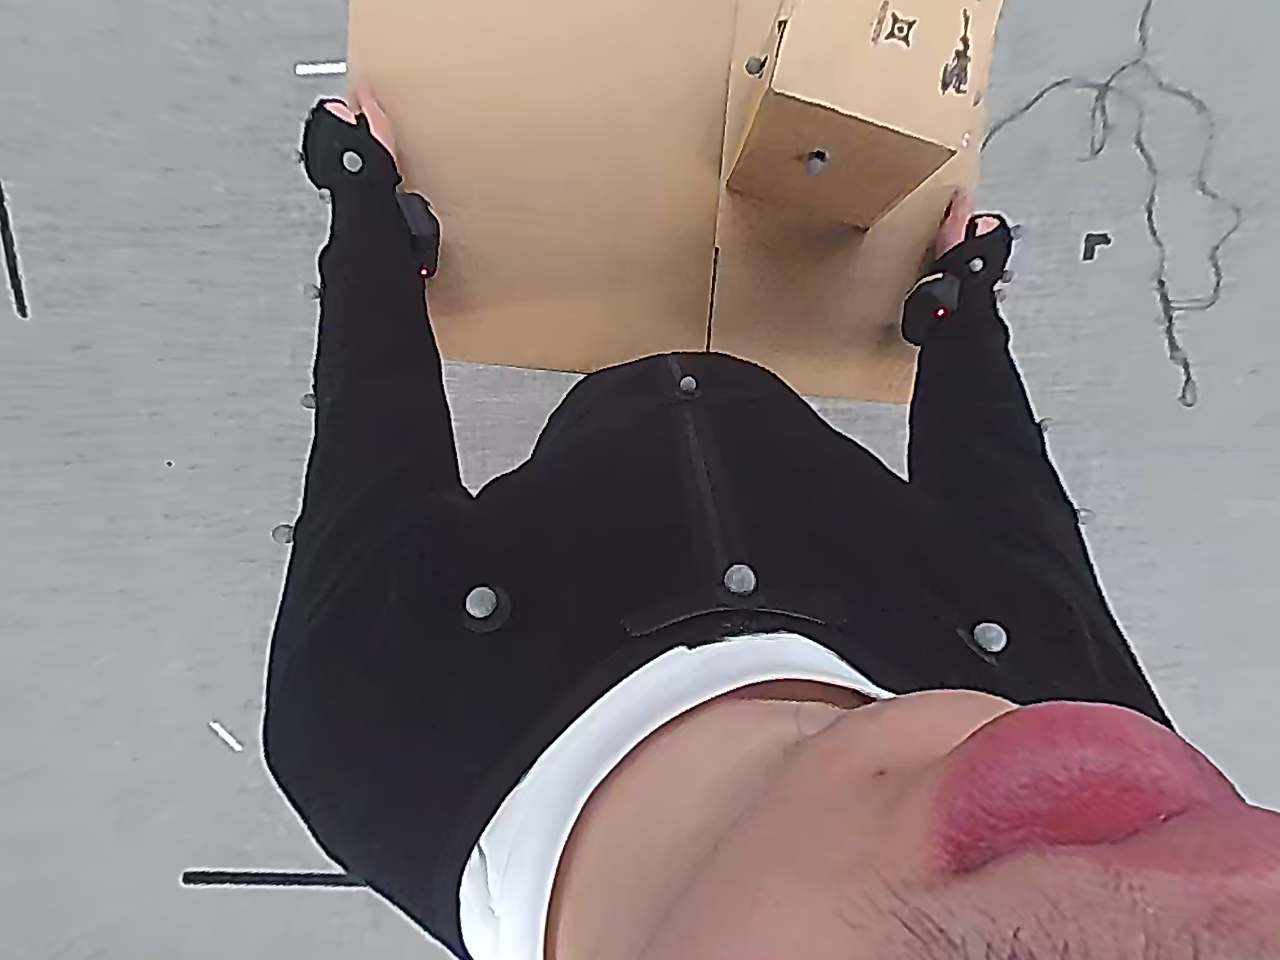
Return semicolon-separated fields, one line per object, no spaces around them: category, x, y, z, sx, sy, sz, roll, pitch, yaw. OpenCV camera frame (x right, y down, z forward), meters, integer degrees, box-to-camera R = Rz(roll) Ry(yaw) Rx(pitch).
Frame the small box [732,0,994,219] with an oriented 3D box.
small box;0.205;-0.392;0.542;0.179;0.176;0.168;15;93;-3
